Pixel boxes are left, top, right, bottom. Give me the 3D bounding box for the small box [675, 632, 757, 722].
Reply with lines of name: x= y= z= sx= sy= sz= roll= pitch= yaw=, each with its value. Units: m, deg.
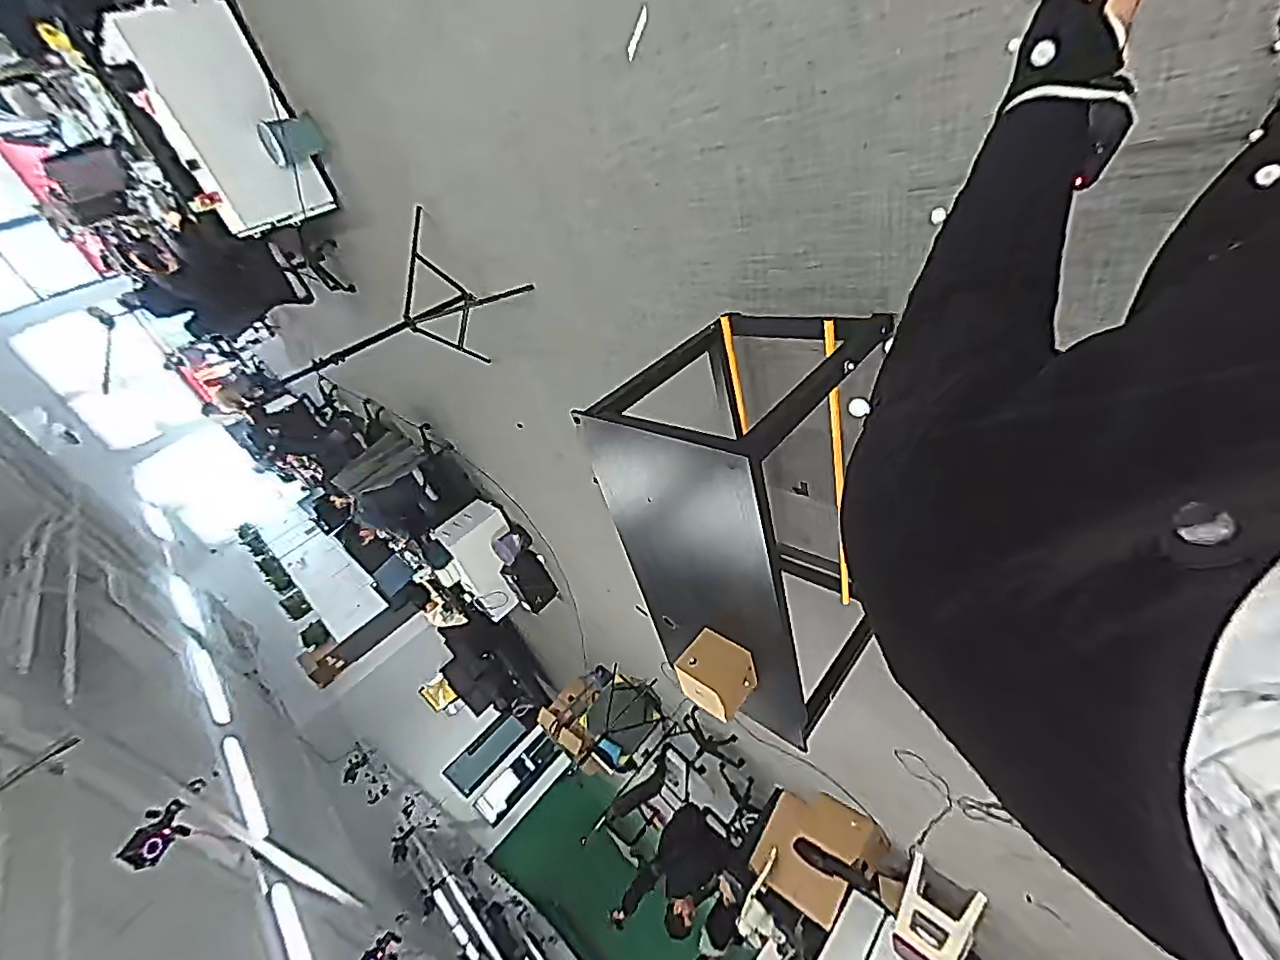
small box: x=0.239 y=0.603 z=1.684 sx=0.179 sy=0.176 sz=0.168 roll=20 pitch=140 yaw=42
